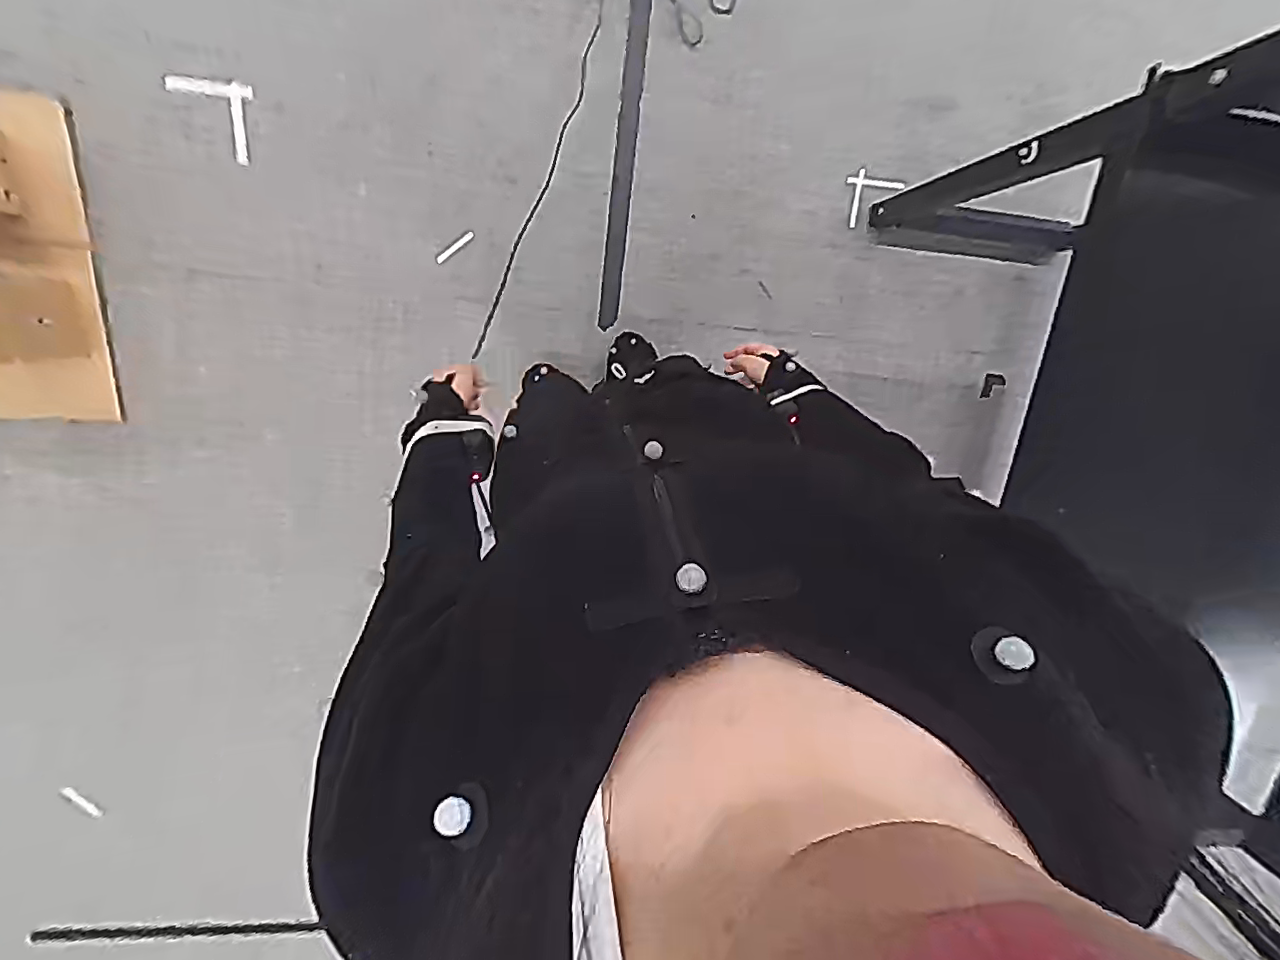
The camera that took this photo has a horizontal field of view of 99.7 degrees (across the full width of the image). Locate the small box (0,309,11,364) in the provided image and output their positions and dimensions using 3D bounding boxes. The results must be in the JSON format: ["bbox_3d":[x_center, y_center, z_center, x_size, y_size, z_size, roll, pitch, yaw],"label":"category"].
[{"bbox_3d":[-1.356,-0.301,1.007,0.168,0.176,0.179,0,106,-7],"label":"small box"}]

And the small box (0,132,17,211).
[{"bbox_3d":[-1.418,-0.642,1.075,0.179,0.176,0.168,-1,106,-6],"label":"small box"}]
